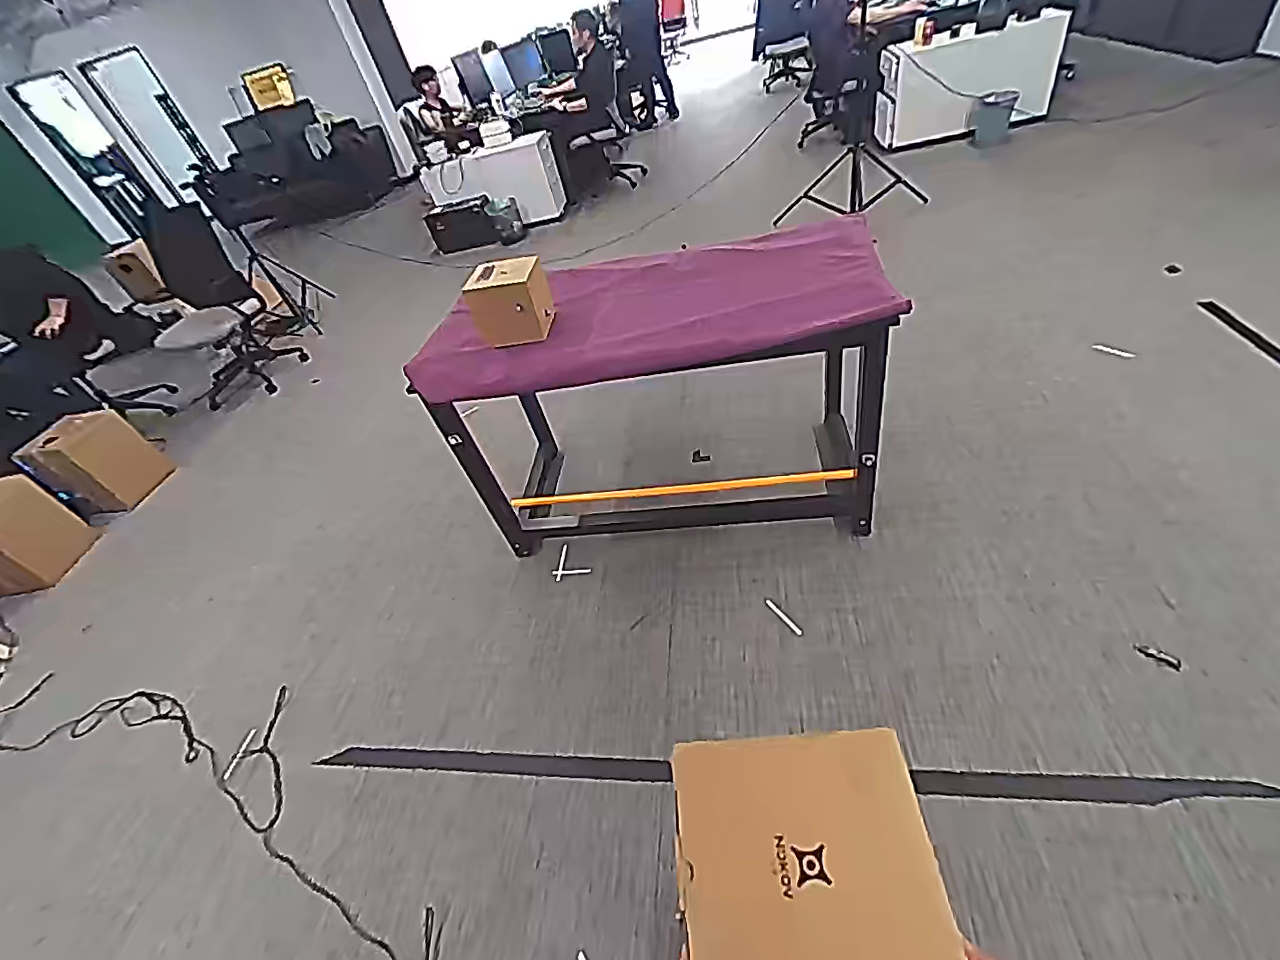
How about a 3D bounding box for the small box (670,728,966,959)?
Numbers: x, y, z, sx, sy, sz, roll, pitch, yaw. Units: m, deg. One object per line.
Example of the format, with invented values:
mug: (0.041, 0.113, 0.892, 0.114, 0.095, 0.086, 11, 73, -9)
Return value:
small box: (0.127, 0.310, 0.434, 0.179, 0.176, 0.168, -10, 52, 8)
